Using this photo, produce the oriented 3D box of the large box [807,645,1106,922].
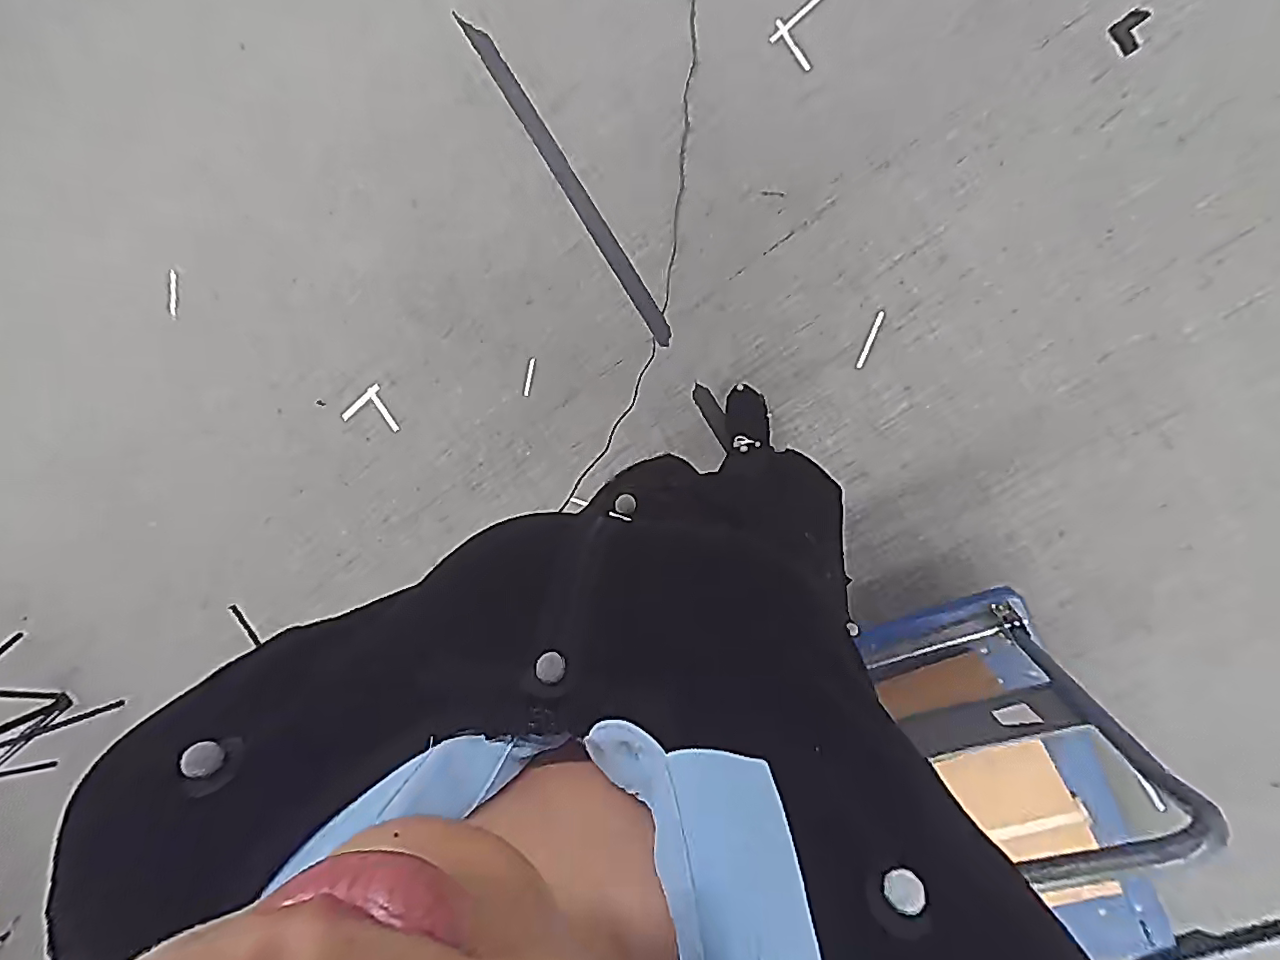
[{"bbox_3d":[0.605,0.609,1.124,0.408,0.320,0.320,-28,90,18],"label":"large box"}]
